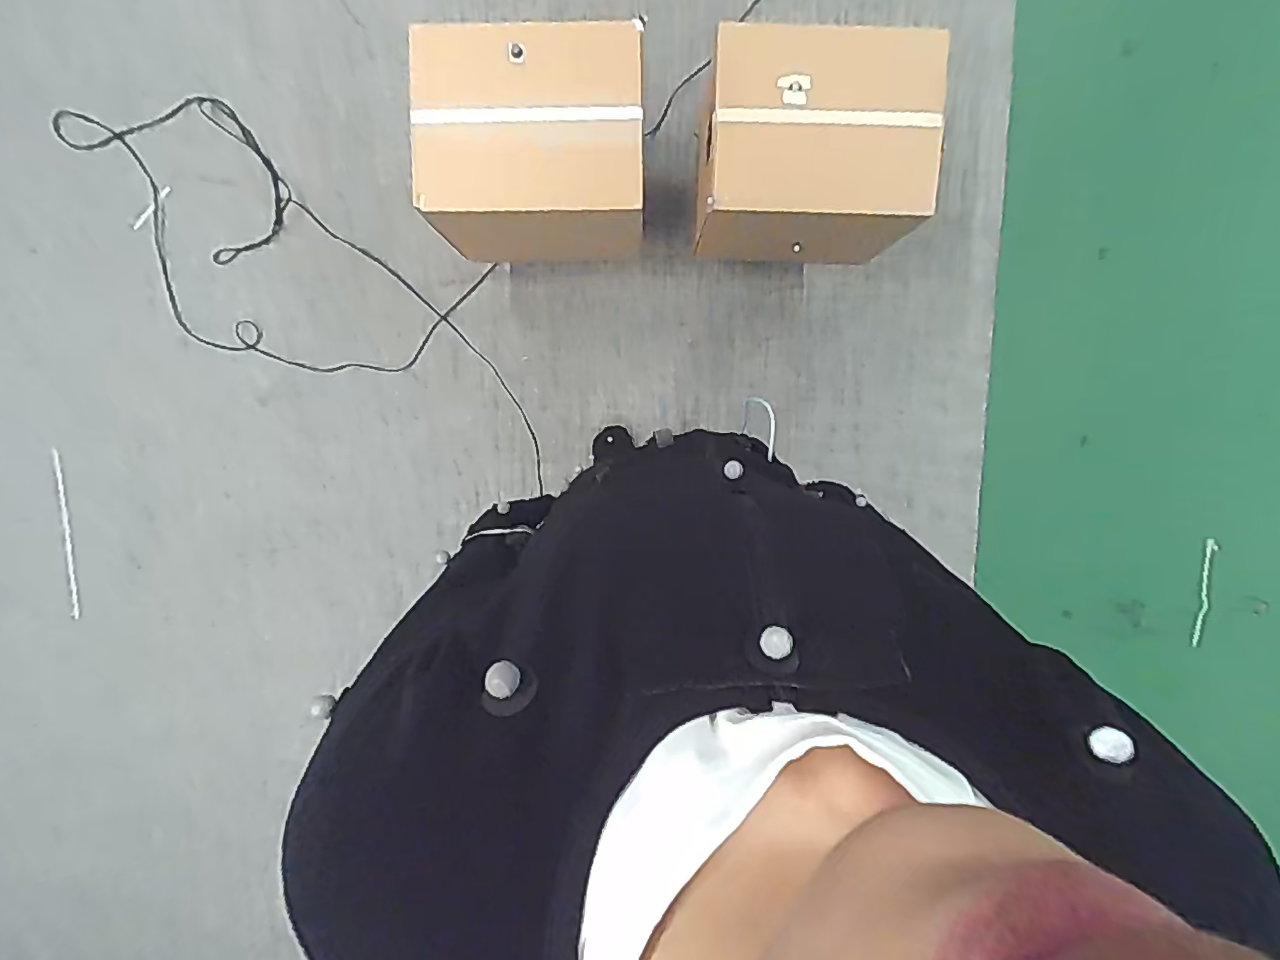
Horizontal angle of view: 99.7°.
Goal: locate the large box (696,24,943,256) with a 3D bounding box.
[{"bbox_3d":[0.334,-0.663,1.112,0.408,0.320,0.320,2,96,0],"label":"large box"}]
